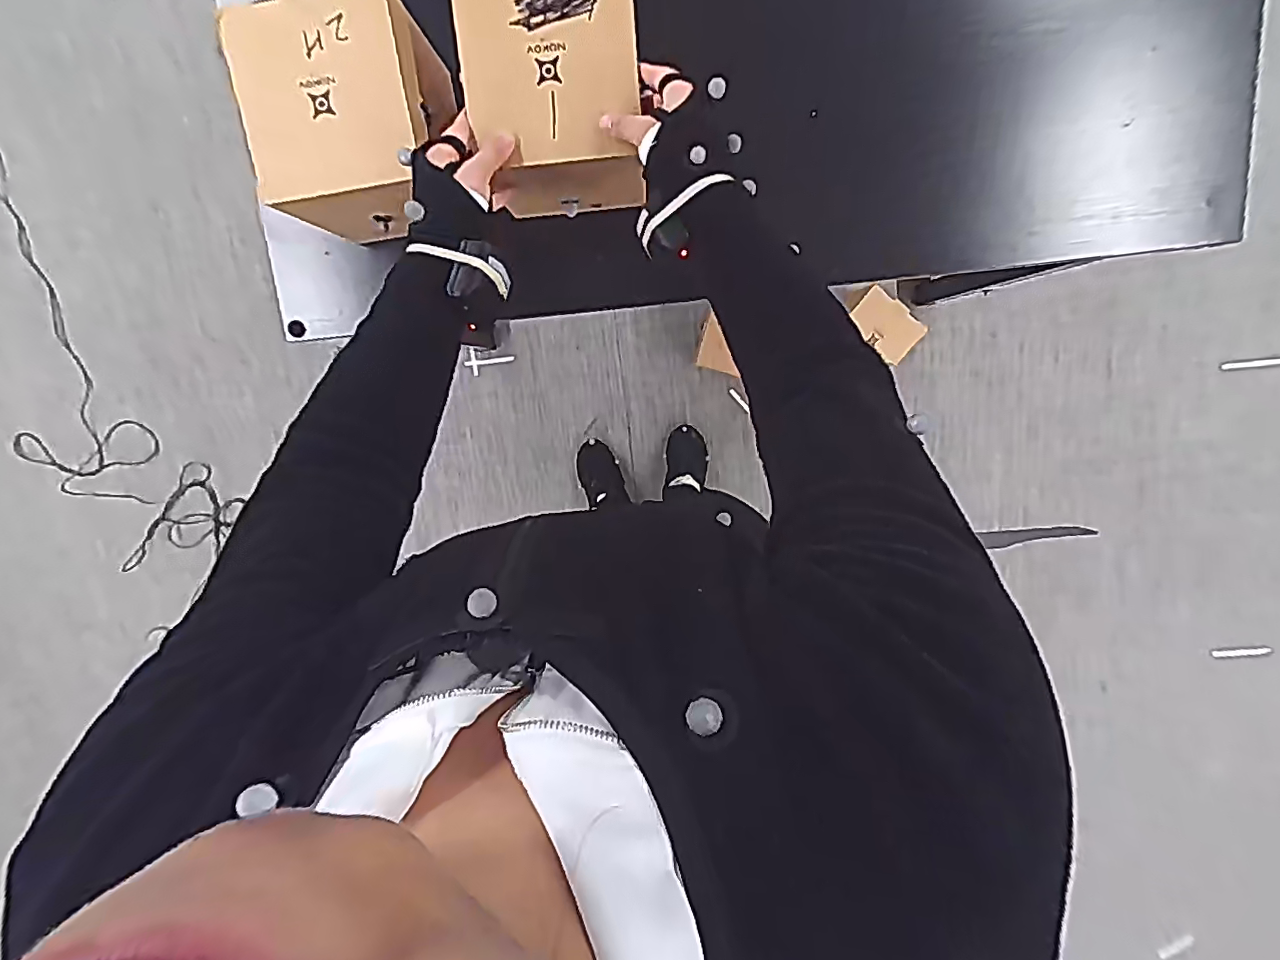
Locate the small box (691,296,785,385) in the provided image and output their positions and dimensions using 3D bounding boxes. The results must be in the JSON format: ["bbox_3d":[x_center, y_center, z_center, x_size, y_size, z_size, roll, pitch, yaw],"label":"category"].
[{"bbox_3d":[0.233,-0.339,1.332,0.179,0.176,0.168,15,101,0],"label":"small box"}]

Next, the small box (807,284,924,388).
[{"bbox_3d":[0.536,-0.344,1.317,0.168,0.176,0.179,38,100,-5],"label":"small box"}]

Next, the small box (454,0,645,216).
[{"bbox_3d":[-0.084,-0.401,0.573,0.168,0.176,0.179,-4,102,1],"label":"small box"}]
